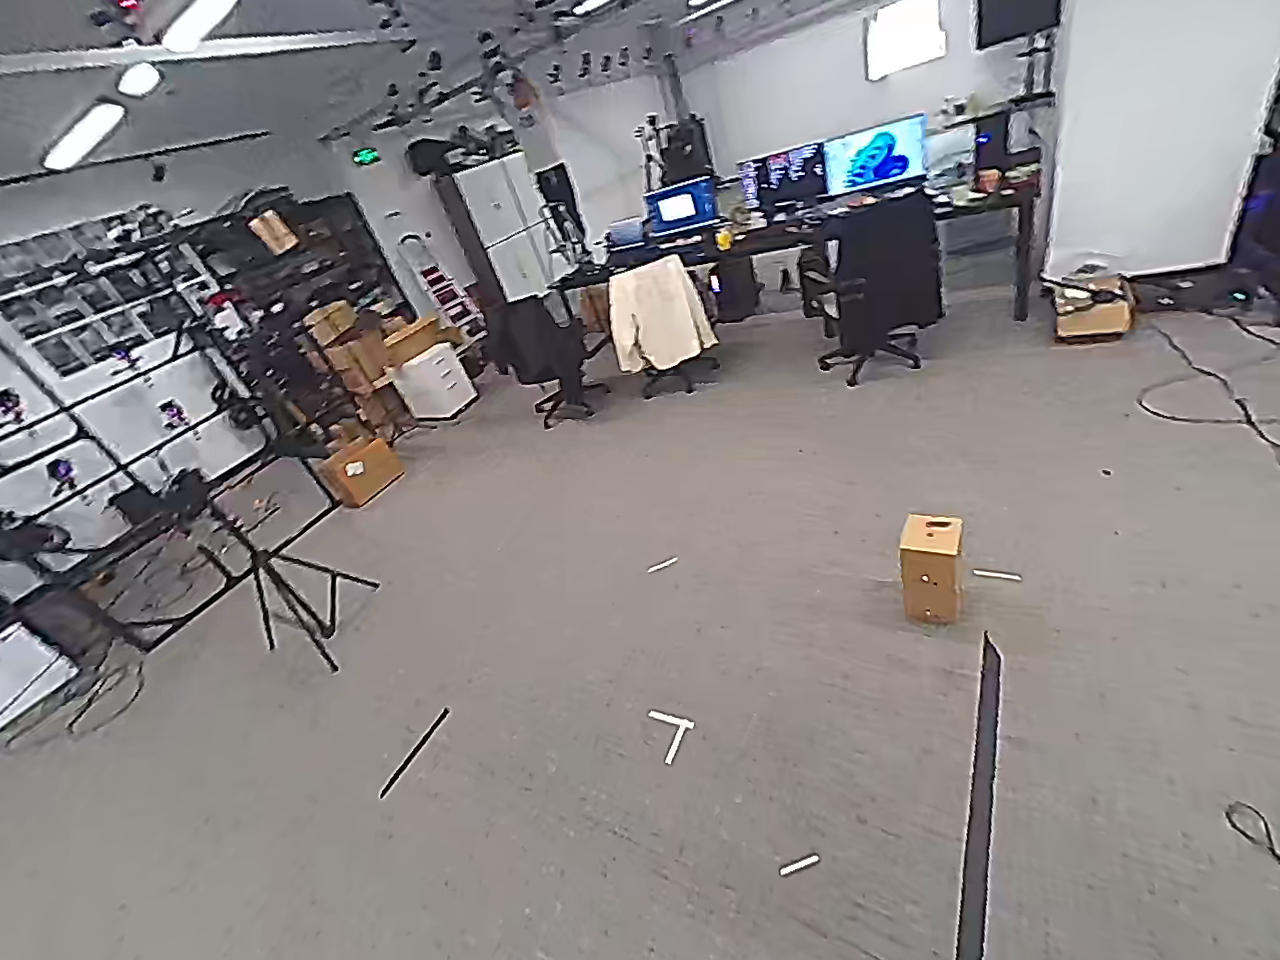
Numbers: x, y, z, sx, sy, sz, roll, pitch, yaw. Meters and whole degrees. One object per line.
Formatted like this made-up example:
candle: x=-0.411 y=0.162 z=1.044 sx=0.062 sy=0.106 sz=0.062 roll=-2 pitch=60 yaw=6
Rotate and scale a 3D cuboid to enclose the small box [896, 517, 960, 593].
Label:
small box: x=0.969 y=0.250 z=1.817 sx=0.168 sy=0.176 sz=0.179 roll=4 pitch=40 yaw=35
